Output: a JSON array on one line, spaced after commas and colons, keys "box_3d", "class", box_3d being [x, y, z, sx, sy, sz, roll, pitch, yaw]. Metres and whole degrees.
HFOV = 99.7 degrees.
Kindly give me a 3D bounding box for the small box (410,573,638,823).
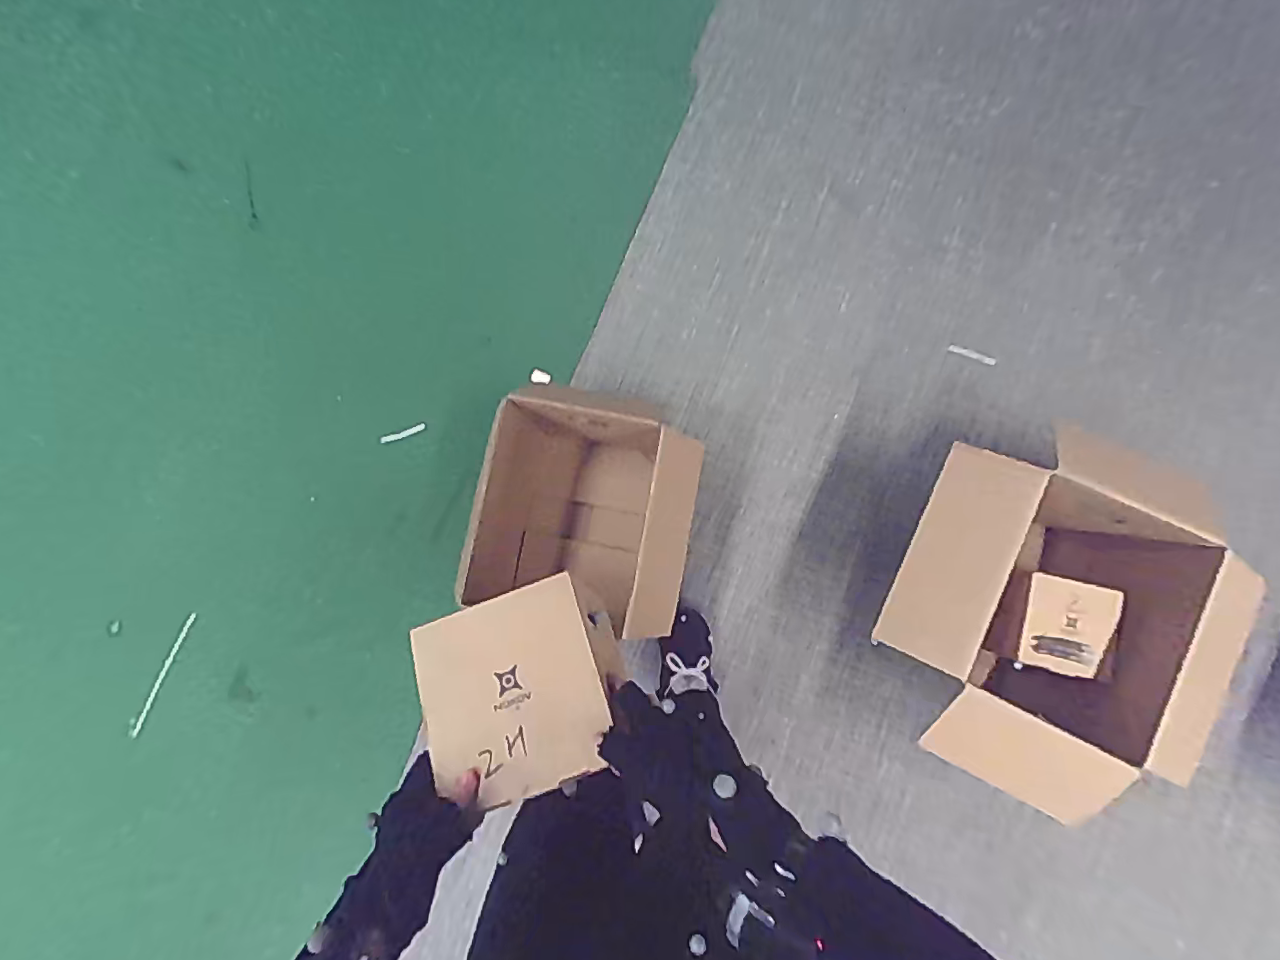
[{"box_3d": [-0.111, 0.221, 0.567, 0.168, 0.176, 0.179, -21, 68, 0], "class": "small box"}]
